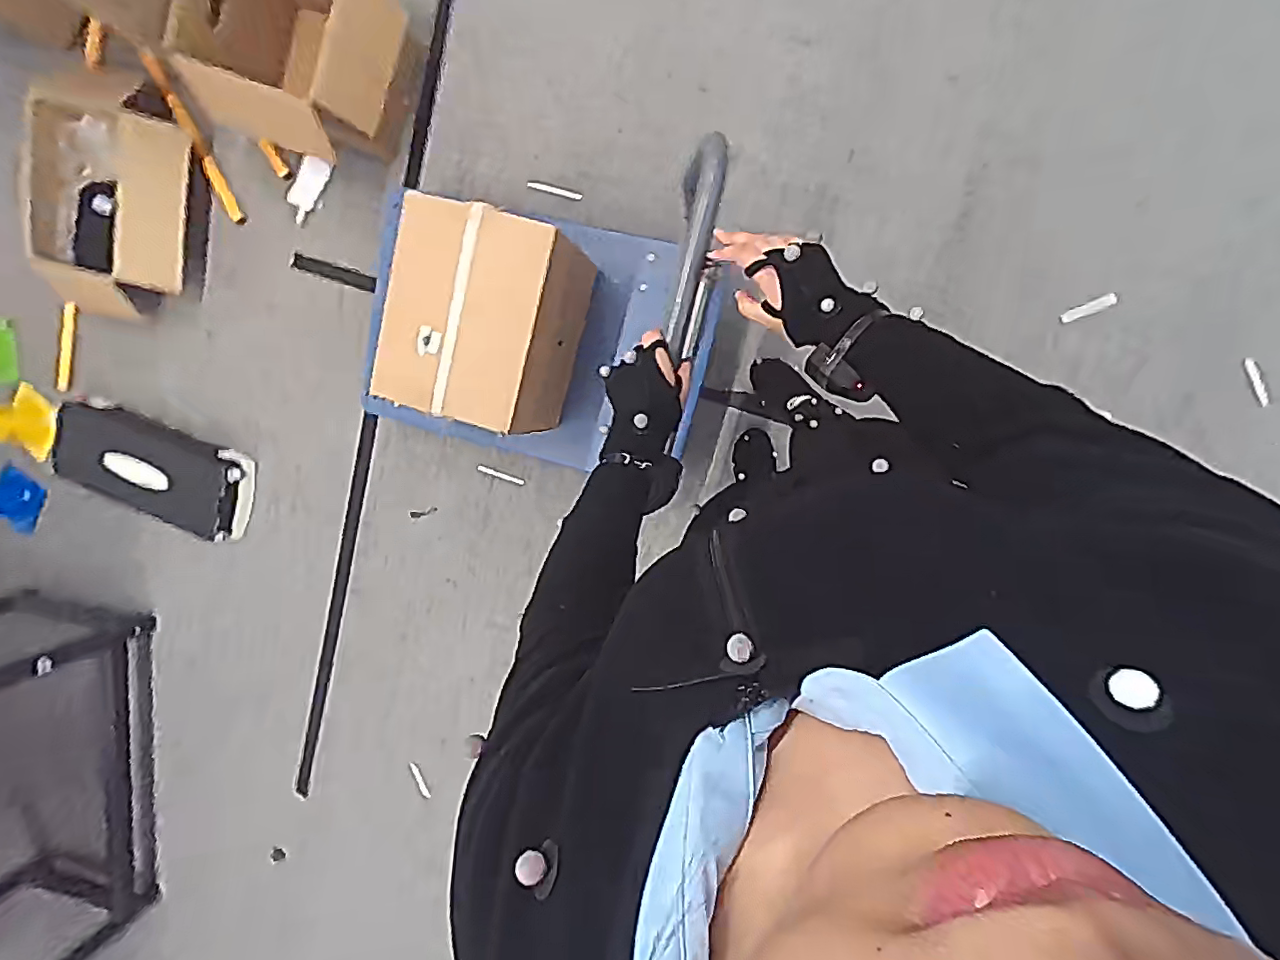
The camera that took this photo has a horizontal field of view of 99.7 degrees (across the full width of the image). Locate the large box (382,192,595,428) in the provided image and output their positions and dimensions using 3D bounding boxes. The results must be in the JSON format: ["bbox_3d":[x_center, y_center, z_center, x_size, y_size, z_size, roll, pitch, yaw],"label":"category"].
[{"bbox_3d":[-0.318,-0.355,1.205,0.320,0.320,0.408,17,101,8],"label":"large box"}]
